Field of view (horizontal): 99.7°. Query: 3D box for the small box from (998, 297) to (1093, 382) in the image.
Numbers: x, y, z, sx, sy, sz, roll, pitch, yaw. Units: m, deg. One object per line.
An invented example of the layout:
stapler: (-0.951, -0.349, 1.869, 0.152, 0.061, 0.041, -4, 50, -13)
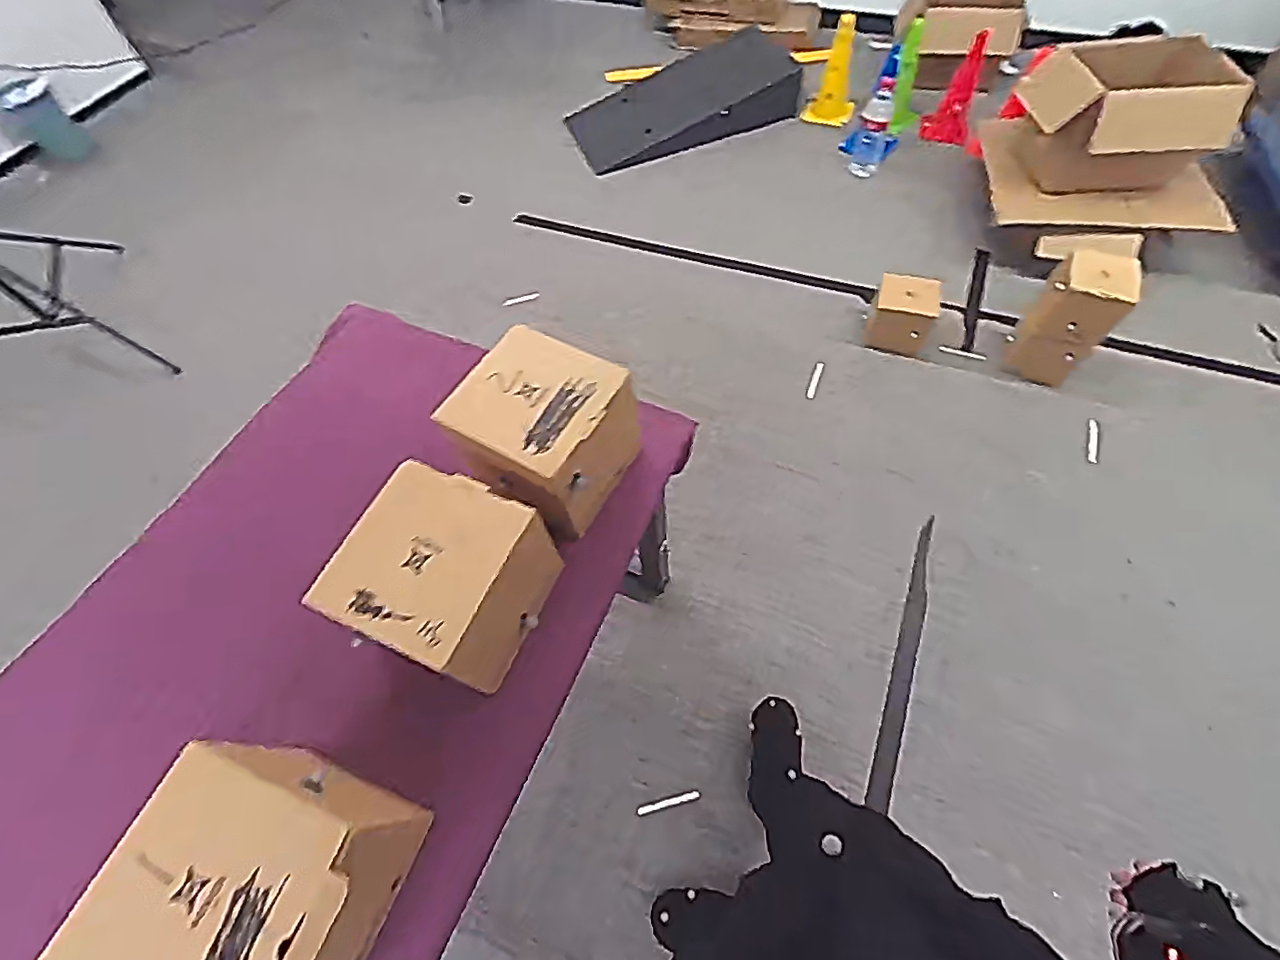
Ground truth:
small box: (1.240, -0.426, 1.650, 0.179, 0.176, 0.168, 23, 65, 14)

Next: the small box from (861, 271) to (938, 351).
small box: (0.830, -0.537, 1.735, 0.179, 0.176, 0.168, 13, 62, 11)

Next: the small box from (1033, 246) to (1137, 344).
small box: (1.238, -0.515, 1.513, 0.168, 0.176, 0.179, 19, 65, 12)

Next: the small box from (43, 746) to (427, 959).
small box: (-0.325, 0.354, 0.477, 0.179, 0.176, 0.168, 17, 63, 13)
